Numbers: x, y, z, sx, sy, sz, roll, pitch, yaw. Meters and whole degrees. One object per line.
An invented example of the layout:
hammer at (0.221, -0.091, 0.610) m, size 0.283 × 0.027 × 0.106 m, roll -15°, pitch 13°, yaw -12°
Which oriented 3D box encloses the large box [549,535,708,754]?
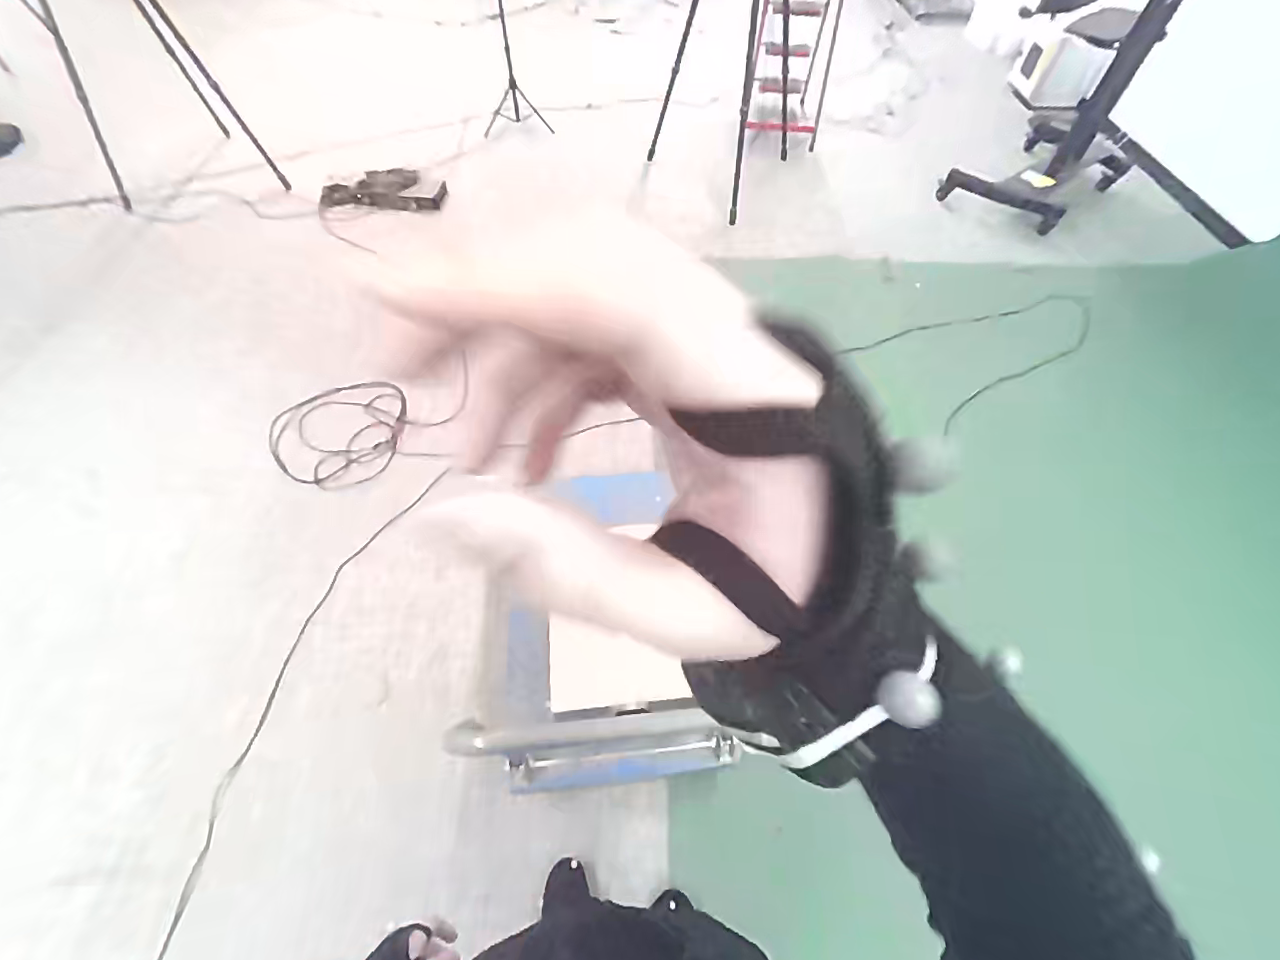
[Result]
large box at (-0.041, 0.393, 1.296) m, size 0.320 × 0.320 × 0.408 m, roll -4°, pitch 53°, yaw -5°
